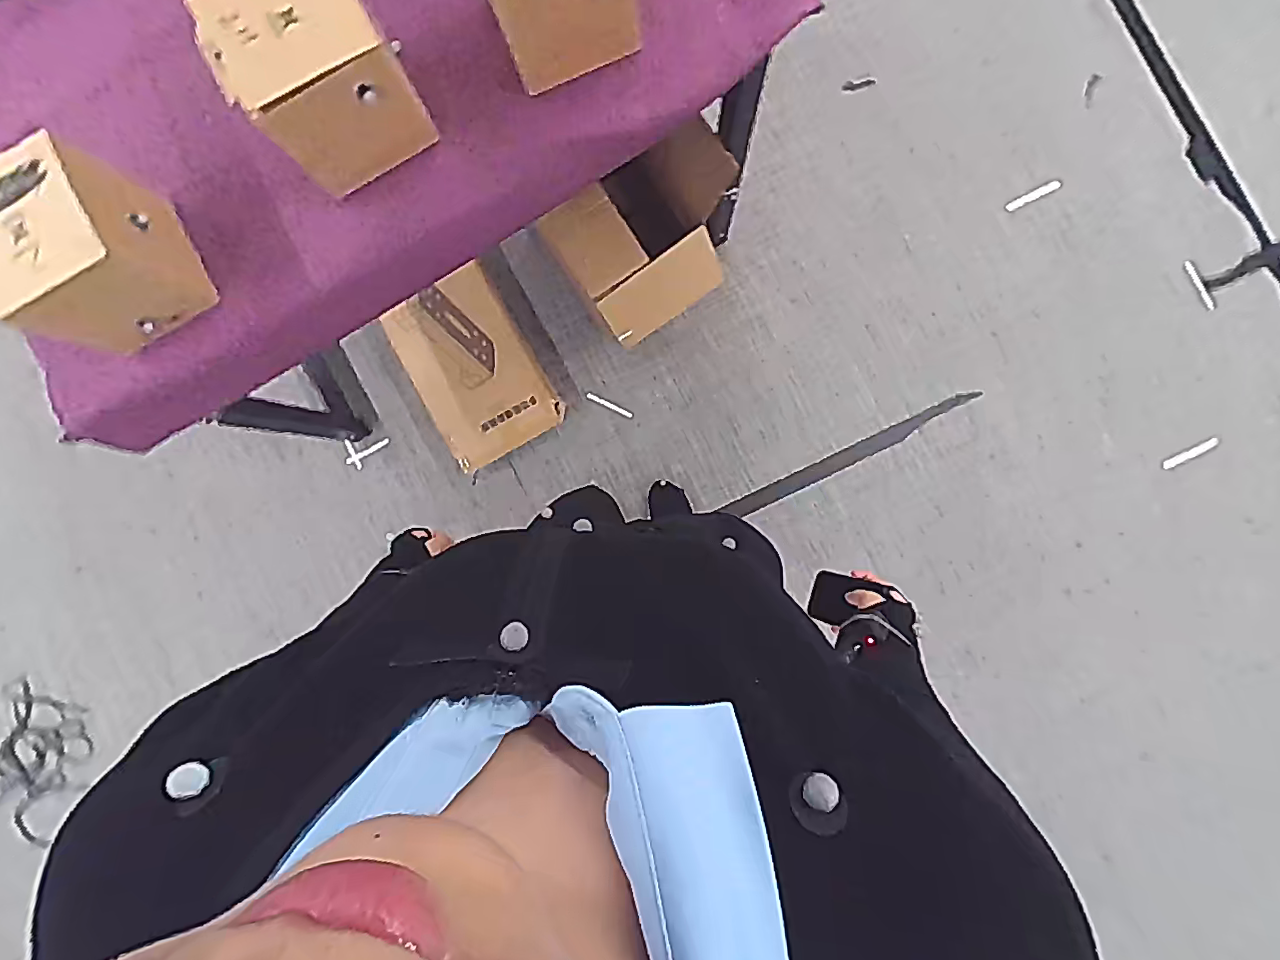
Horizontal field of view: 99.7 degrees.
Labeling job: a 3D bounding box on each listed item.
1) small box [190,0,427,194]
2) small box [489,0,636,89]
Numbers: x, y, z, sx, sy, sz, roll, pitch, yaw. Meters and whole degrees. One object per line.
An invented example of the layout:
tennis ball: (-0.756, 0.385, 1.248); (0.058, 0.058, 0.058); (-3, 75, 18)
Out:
small box: (-0.404, -0.519, 0.698); (0.179, 0.176, 0.168); (-29, 86, 2)
small box: (-0.115, -0.653, 0.687); (0.179, 0.176, 0.168); (-22, 89, 2)
